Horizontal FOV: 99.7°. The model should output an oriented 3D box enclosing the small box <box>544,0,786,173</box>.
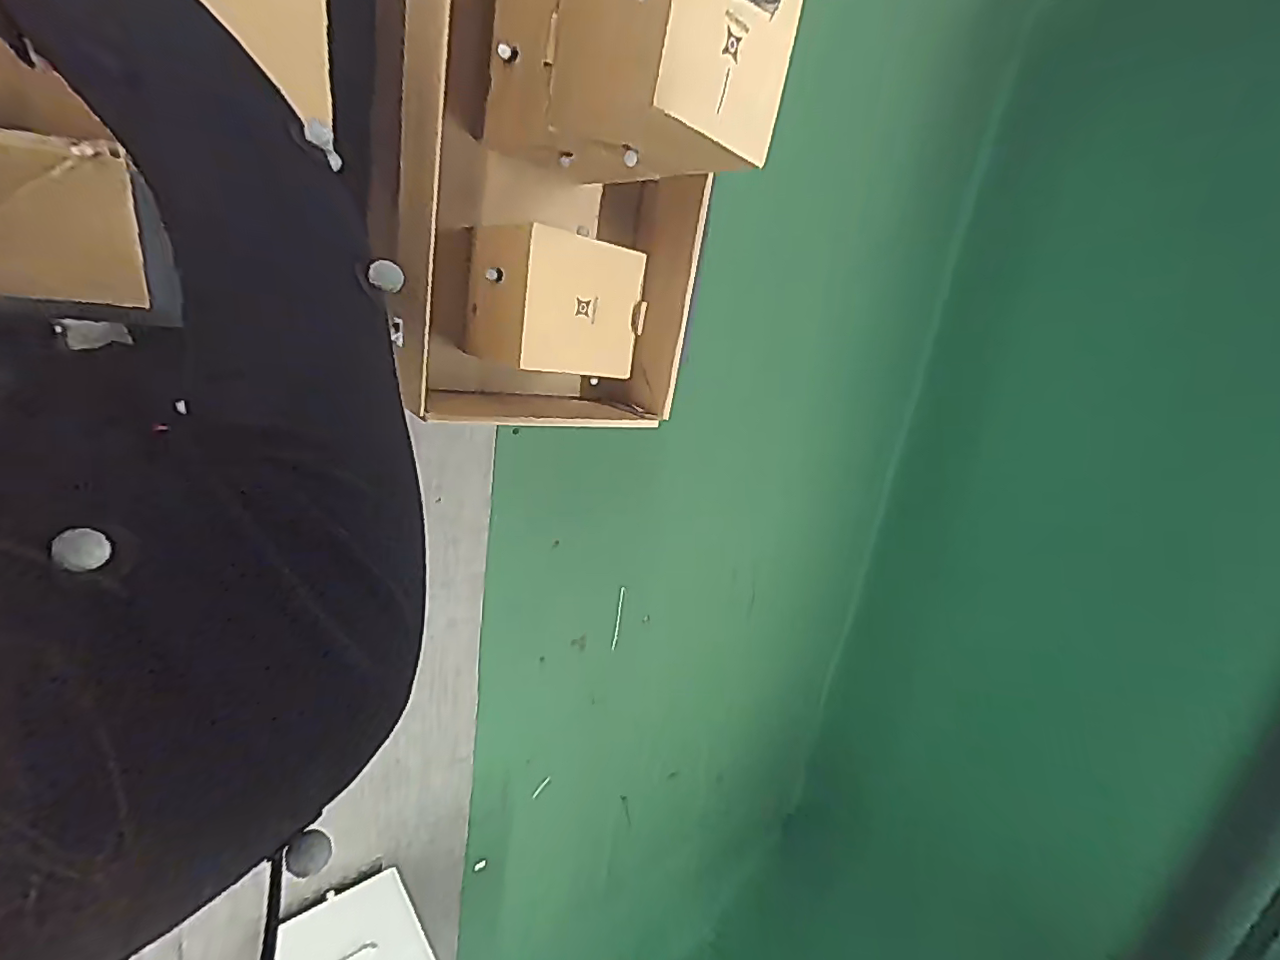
[{"bbox_3d":[0.019,-0.439,0.558,0.168,0.176,0.179,-4,114,-44],"label":"small box"}]
